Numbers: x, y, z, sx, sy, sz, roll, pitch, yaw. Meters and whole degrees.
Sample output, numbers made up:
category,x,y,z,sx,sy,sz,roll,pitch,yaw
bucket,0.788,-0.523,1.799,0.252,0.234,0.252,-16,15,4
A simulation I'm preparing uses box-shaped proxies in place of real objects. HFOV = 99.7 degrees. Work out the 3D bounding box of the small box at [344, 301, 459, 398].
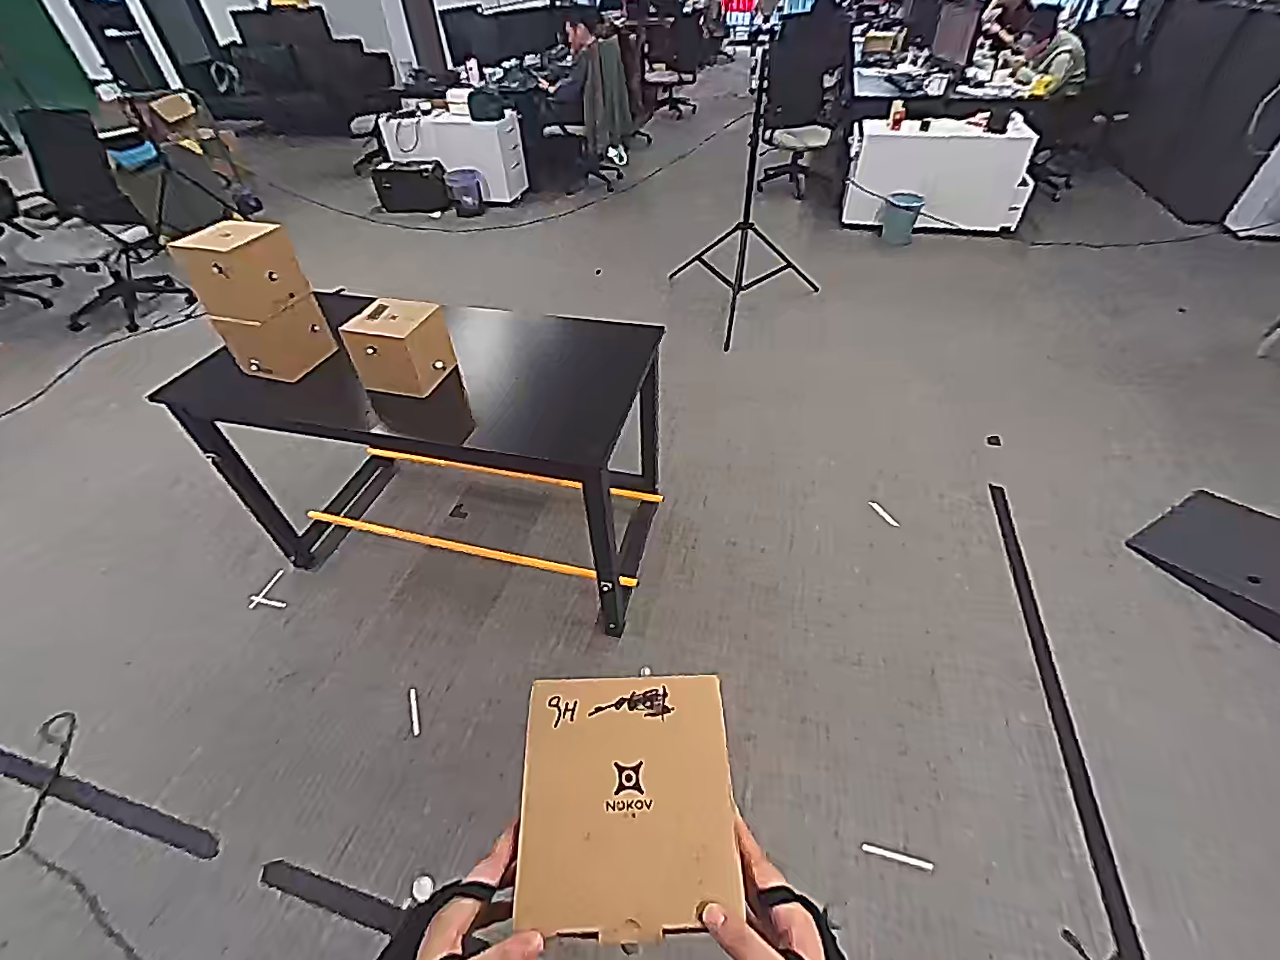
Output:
category,x,y,z,sx,sy,sz,roll,pitch,yaw
small box,-0.581,-0.322,1.339,0.179,0.176,0.168,10,46,11

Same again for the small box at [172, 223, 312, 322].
category,x,y,z,sx,sy,sz,roll,pitch,yaw
small box,-0.941,-0.496,1.299,0.179,0.176,0.168,11,45,14

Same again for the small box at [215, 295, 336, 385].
category,x,y,z,sx,sy,sz,roll,pitch,yaw
small box,-0.932,-0.373,1.409,0.168,0.176,0.179,10,47,14

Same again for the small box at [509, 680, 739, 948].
category,x,y,z,sx,sy,sz,roll,pitch,yaw
small box,-0.012,0.292,0.487,0.168,0.176,0.179,-1,55,-2
